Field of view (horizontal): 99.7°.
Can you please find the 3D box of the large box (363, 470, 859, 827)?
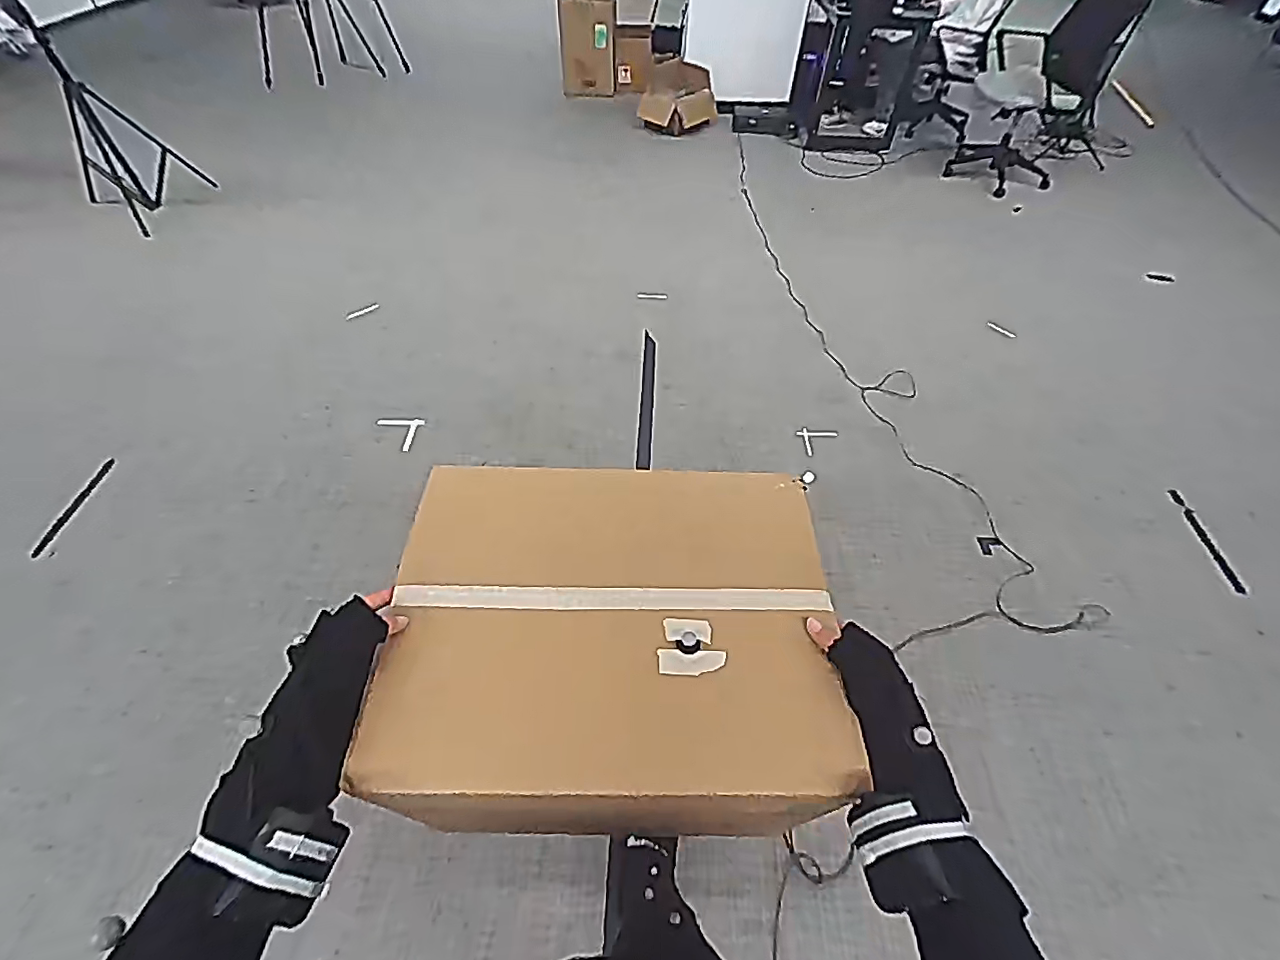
[{"bbox_3d":[-0.028,0.204,0.634,0.408,0.320,0.320,2,52,-1],"label":"large box"}]
